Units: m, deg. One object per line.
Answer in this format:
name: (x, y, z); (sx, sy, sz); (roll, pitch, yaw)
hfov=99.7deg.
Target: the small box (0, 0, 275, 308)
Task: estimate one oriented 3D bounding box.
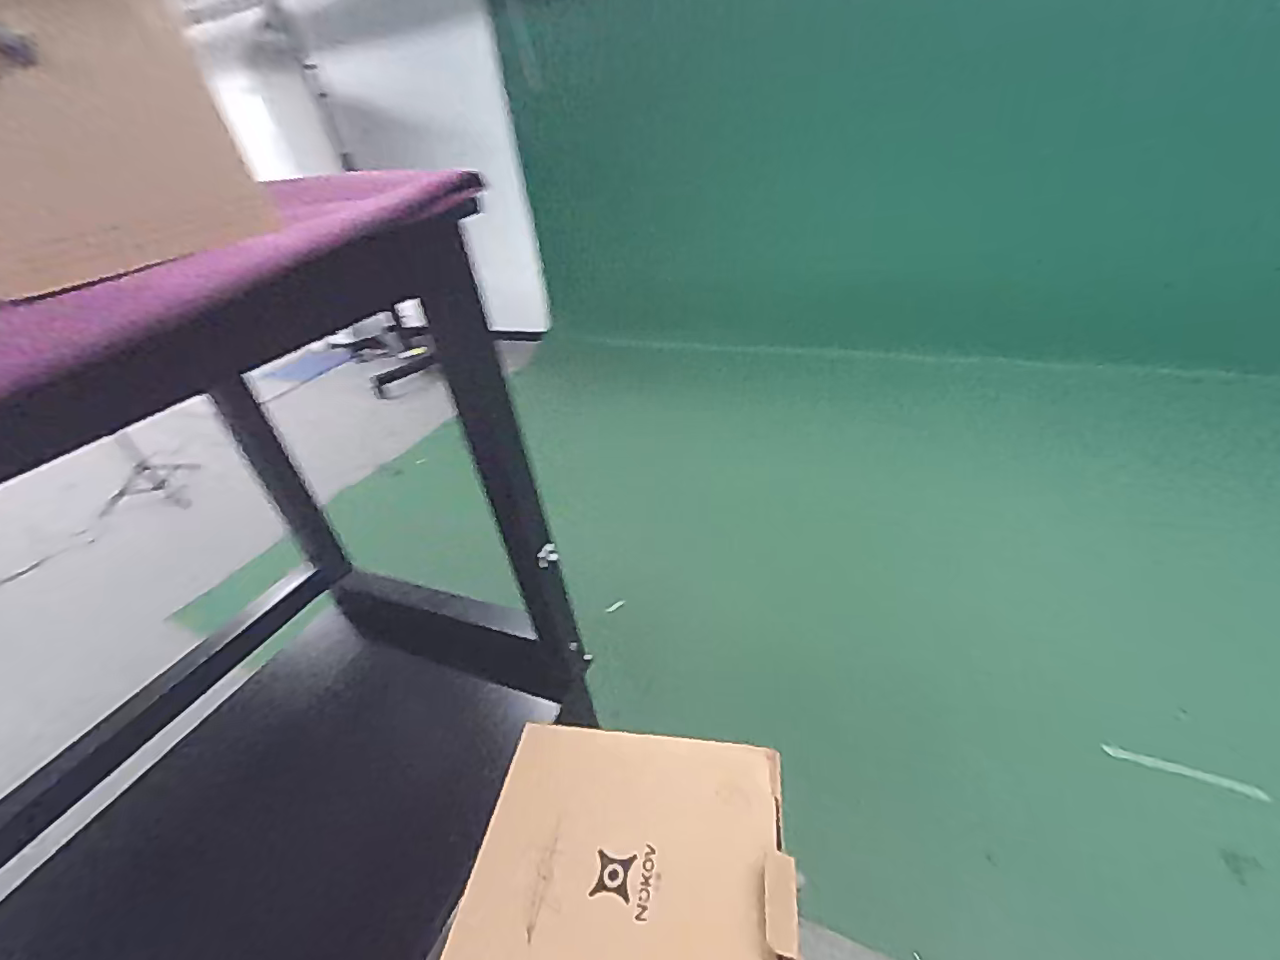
small box: (-0.414, -0.229, 0.378); (0.168, 0.176, 0.179); (12, 40, 28)
